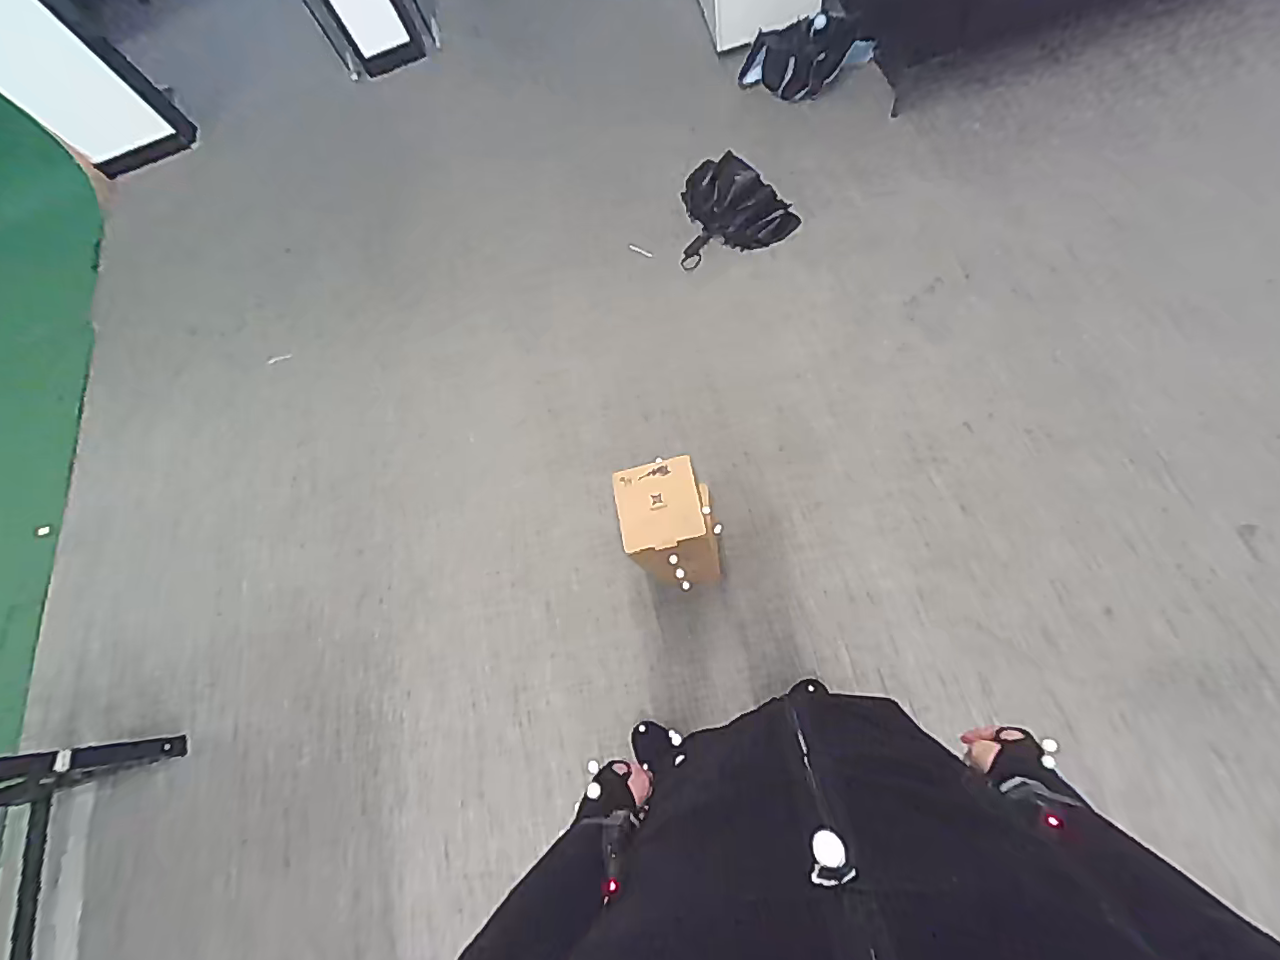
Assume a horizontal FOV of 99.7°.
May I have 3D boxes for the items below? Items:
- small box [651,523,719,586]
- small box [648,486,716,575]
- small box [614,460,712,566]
[{"bbox_3d":[0.121,0.181,1.451,0.168,0.176,0.179,-5,71,10],"label":"small box"},{"bbox_3d":[0.093,0.127,1.298,0.168,0.176,0.179,-4,70,10],"label":"small box"},{"bbox_3d":[0.053,0.079,1.148,0.168,0.176,0.179,-12,69,7],"label":"small box"}]
